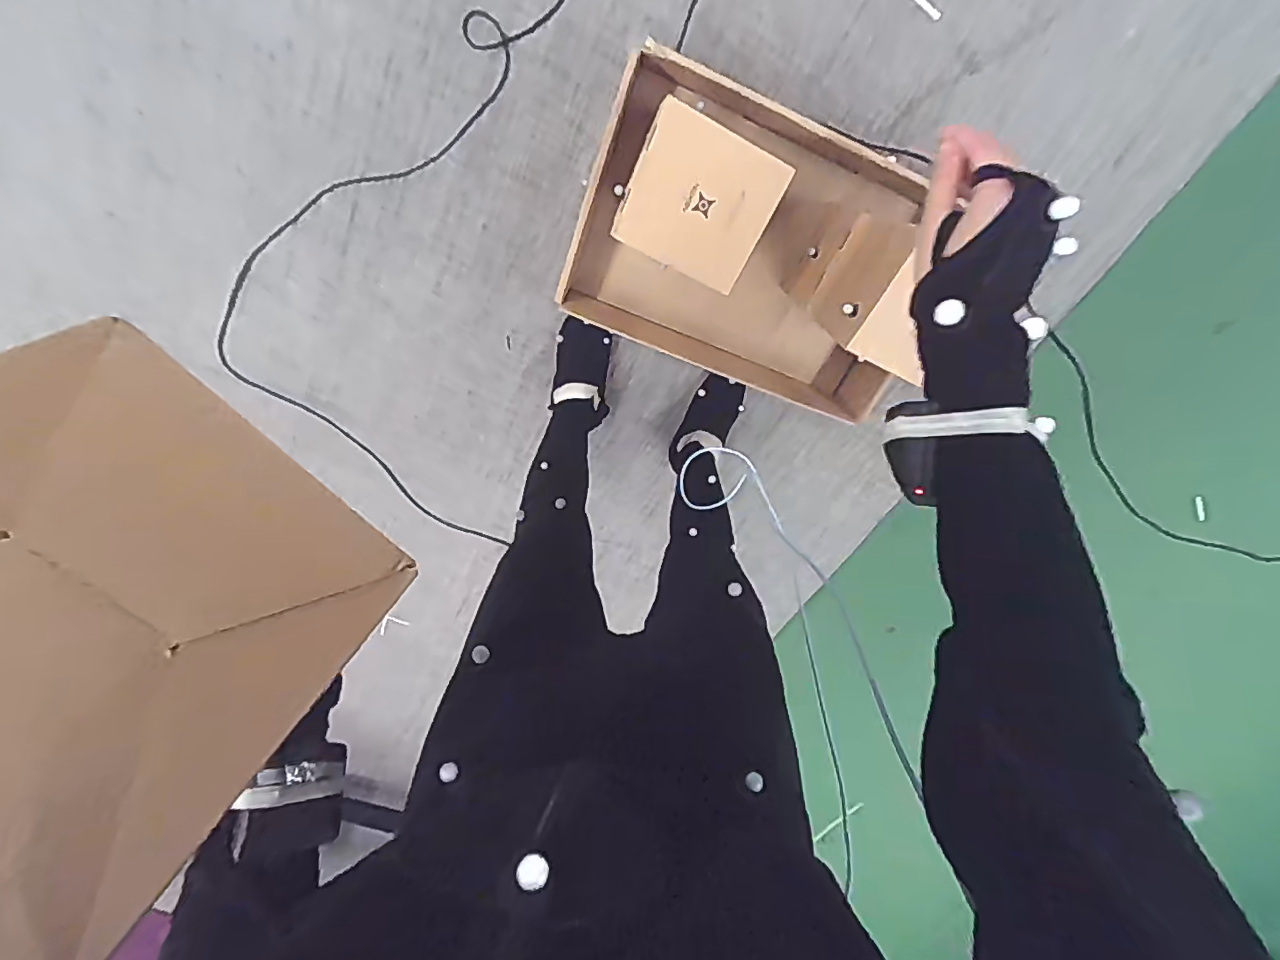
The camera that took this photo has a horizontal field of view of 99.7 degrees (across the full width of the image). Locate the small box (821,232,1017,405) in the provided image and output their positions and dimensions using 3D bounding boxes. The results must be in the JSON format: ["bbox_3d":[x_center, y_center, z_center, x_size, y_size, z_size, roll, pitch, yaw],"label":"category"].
[{"bbox_3d":[0.397,-0.247,0.813,0.168,0.176,0.179,23,117,-14],"label":"small box"}]

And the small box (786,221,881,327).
[{"bbox_3d":[0.384,-0.337,0.952,0.179,0.176,0.168,24,117,-13],"label":"small box"}]

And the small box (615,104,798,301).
[{"bbox_3d":[0.080,-0.374,0.740,0.179,0.176,0.168,23,119,-14],"label":"small box"}]
